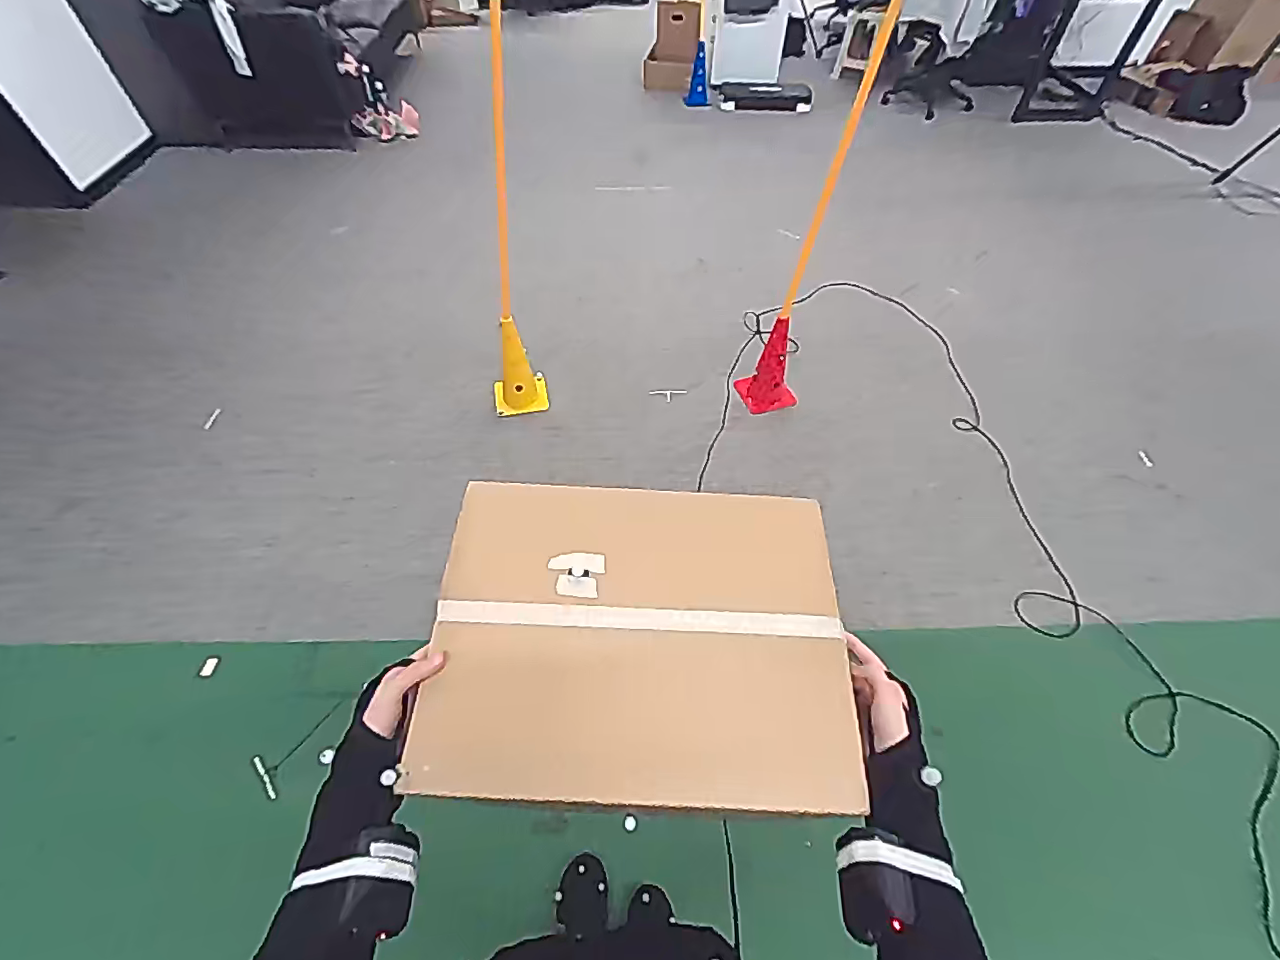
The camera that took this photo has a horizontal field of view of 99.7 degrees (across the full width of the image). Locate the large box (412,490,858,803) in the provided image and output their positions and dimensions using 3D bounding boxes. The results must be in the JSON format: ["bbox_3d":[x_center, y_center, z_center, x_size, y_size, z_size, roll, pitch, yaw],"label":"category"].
[{"bbox_3d":[-0.001,0.225,0.681,0.408,0.320,0.320,2,57,0],"label":"large box"}]
